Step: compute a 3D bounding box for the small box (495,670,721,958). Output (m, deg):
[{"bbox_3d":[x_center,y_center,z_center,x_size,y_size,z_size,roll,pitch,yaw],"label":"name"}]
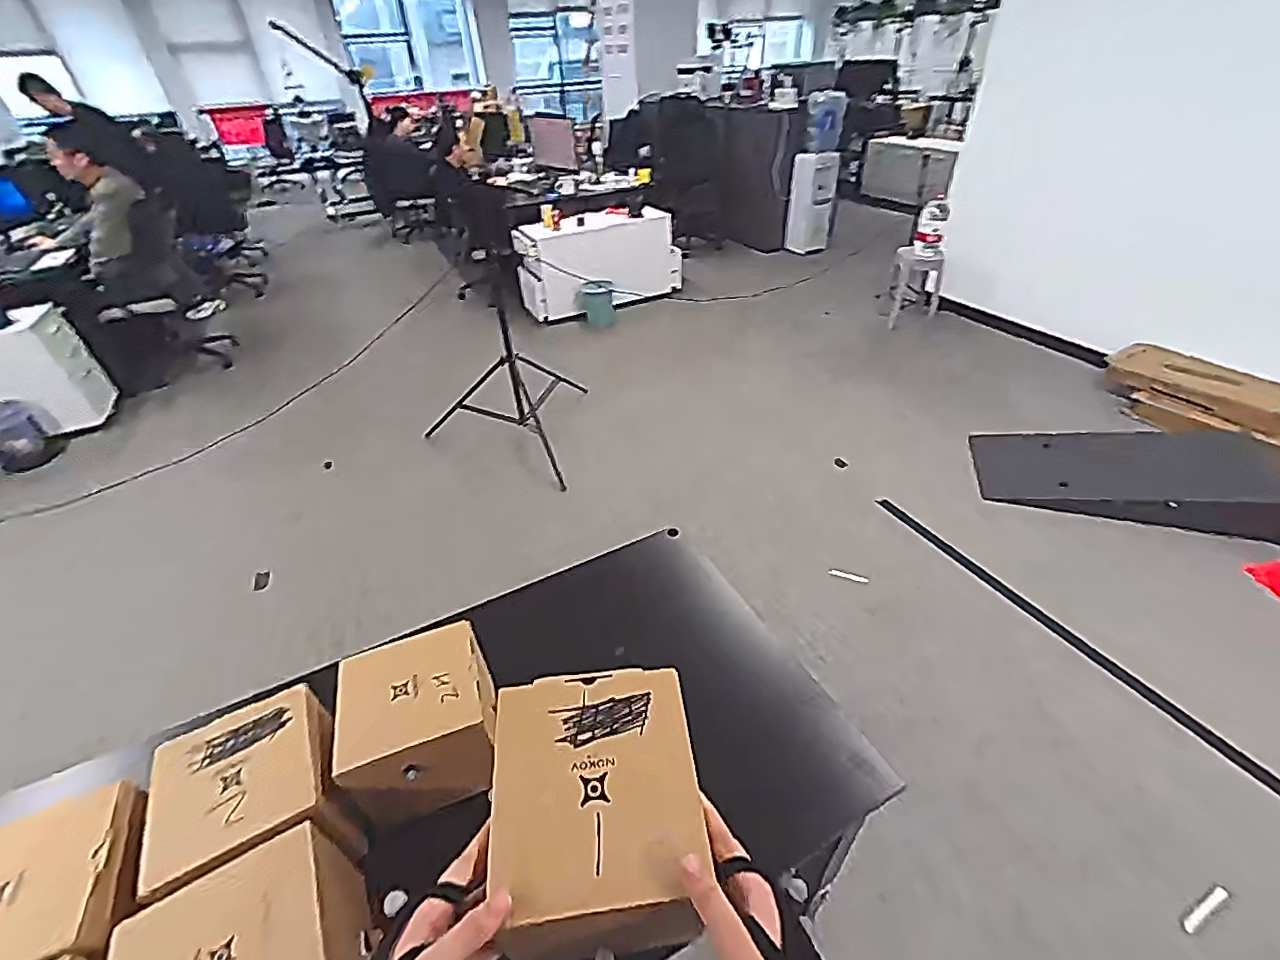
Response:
[{"bbox_3d":[-0.031,0.304,0.500,0.168,0.176,0.179,-5,42,-5],"label":"small box"}]
